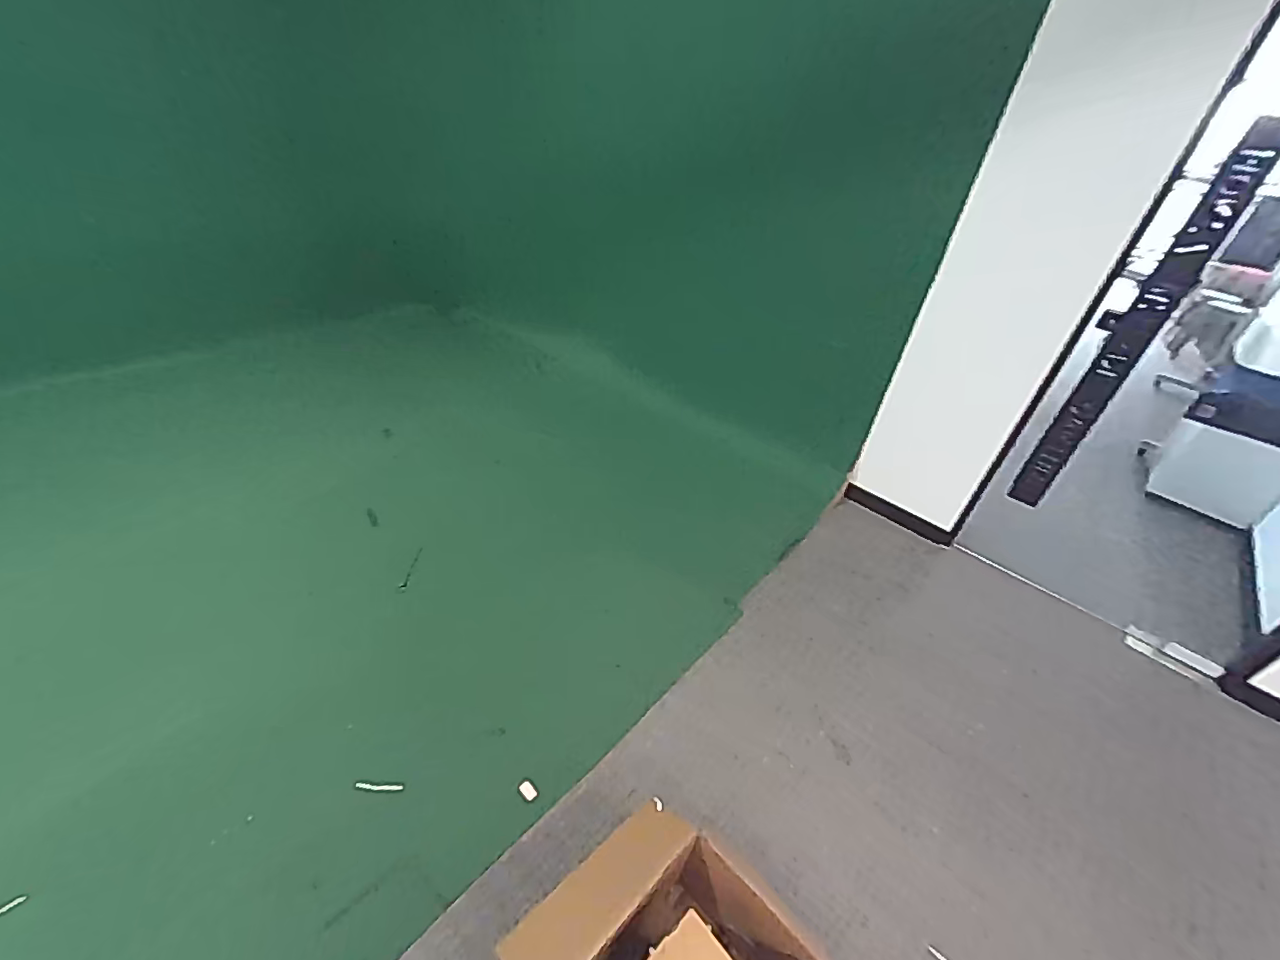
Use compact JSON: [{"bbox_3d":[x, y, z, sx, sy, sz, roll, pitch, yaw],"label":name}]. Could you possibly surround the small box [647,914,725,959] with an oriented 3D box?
[{"bbox_3d":[0.073,0.896,0.910,0.168,0.176,0.179,-26,49,-37],"label":"small box"}]
